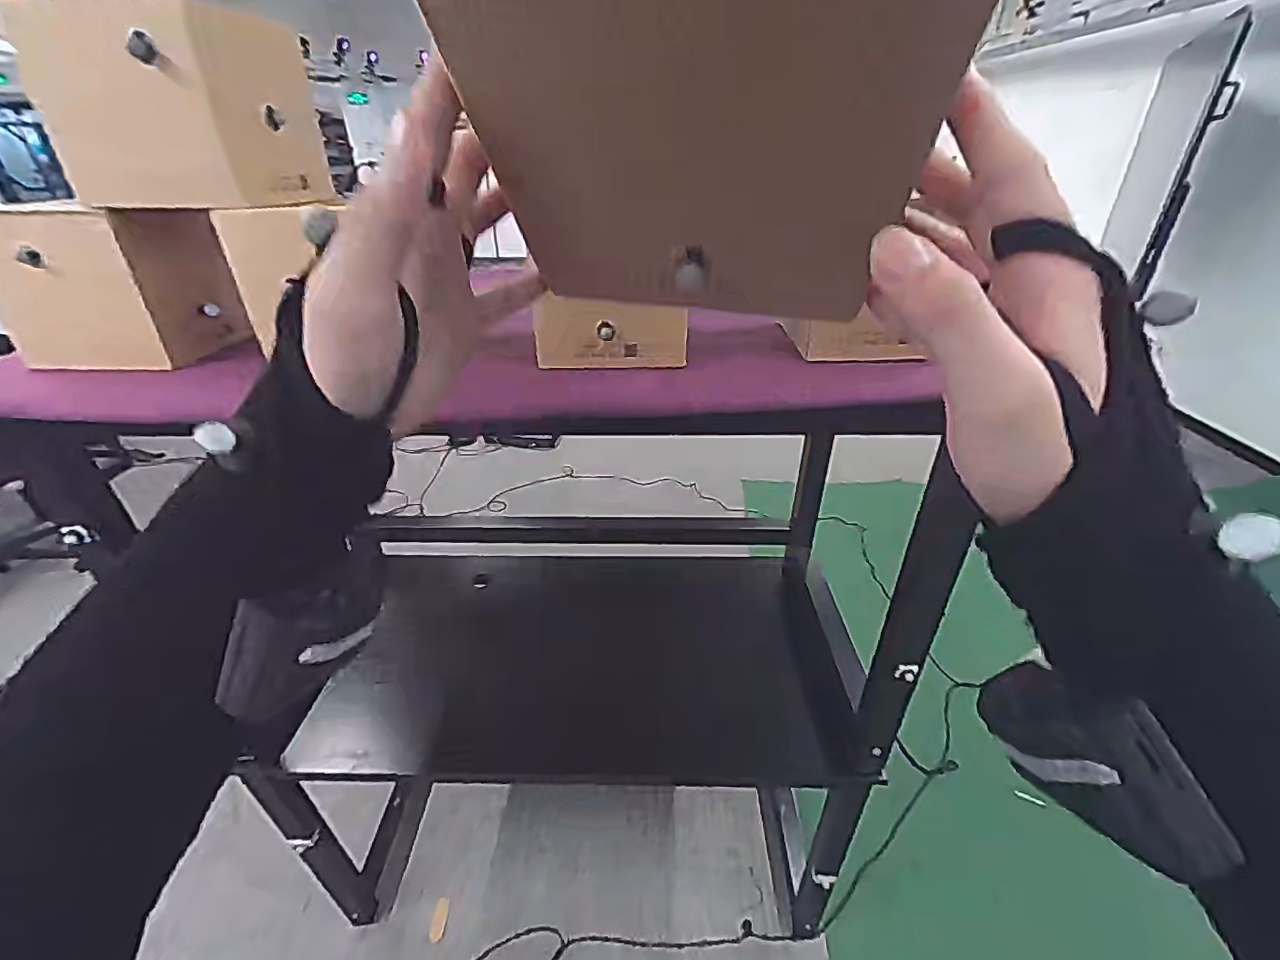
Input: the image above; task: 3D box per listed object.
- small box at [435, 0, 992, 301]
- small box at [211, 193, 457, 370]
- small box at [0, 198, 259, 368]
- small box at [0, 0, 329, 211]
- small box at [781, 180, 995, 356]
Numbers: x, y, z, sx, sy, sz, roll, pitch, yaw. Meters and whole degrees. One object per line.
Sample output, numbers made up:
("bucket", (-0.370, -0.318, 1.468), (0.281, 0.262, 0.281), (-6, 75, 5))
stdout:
("small box", (0.037, -0.204, 0.251), (0.179, 0.176, 0.168), (9, 75, 9))
("small box", (-0.331, -0.233, 0.633), (0.168, 0.176, 0.179), (0, 31, 3))
("small box", (-0.613, -0.239, 0.646), (0.179, 0.176, 0.168), (1, 32, 2))
("small box", (-0.464, -0.381, 0.560), (0.179, 0.176, 0.168), (2, 31, 3))
("small box", (0.267, -0.248, 0.632), (0.168, 0.176, 0.179), (0, 31, 3))
